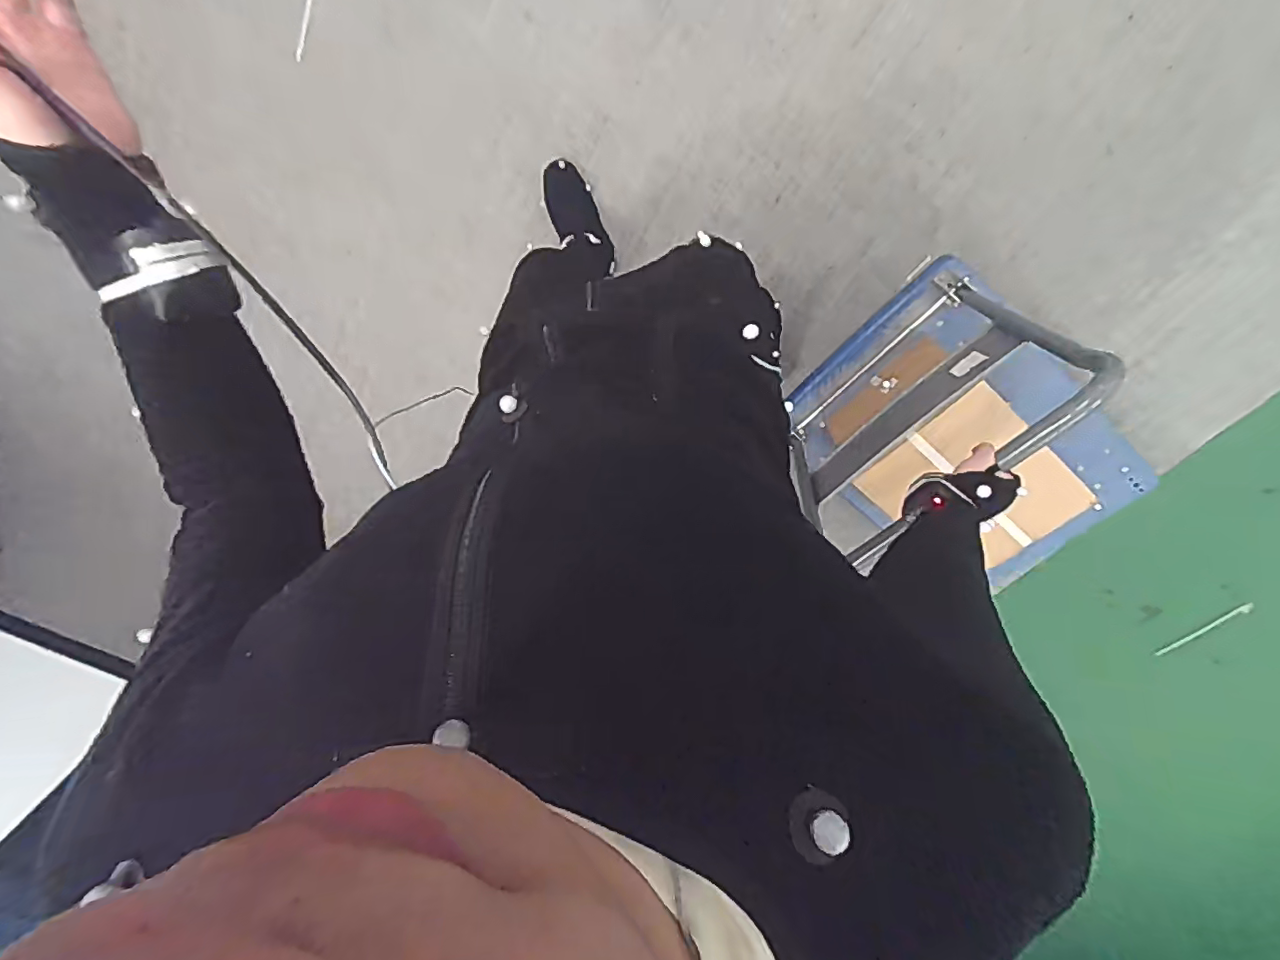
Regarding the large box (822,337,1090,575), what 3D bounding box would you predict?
[{"bbox_3d":[0.703,-0.062,1.268,0.408,0.320,0.320,37,118,-16],"label":"large box"}]
